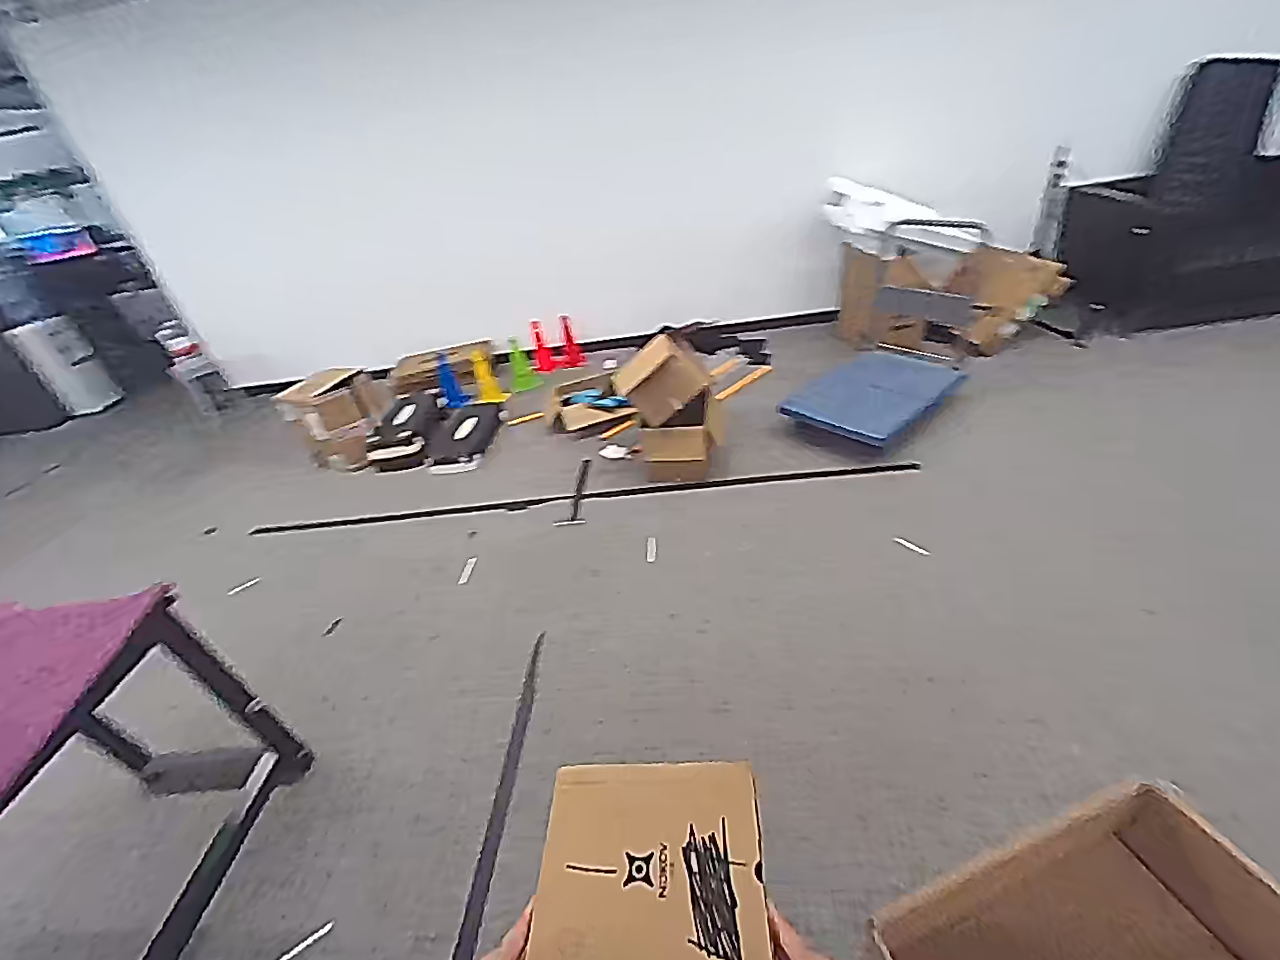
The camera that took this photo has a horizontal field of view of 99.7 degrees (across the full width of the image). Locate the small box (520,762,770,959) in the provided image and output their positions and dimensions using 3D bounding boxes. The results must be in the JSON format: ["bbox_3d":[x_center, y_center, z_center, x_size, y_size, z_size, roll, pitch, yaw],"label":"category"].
[{"bbox_3d":[0.015,0.364,0.458,0.179,0.176,0.168,-6,34,7],"label":"small box"}]
